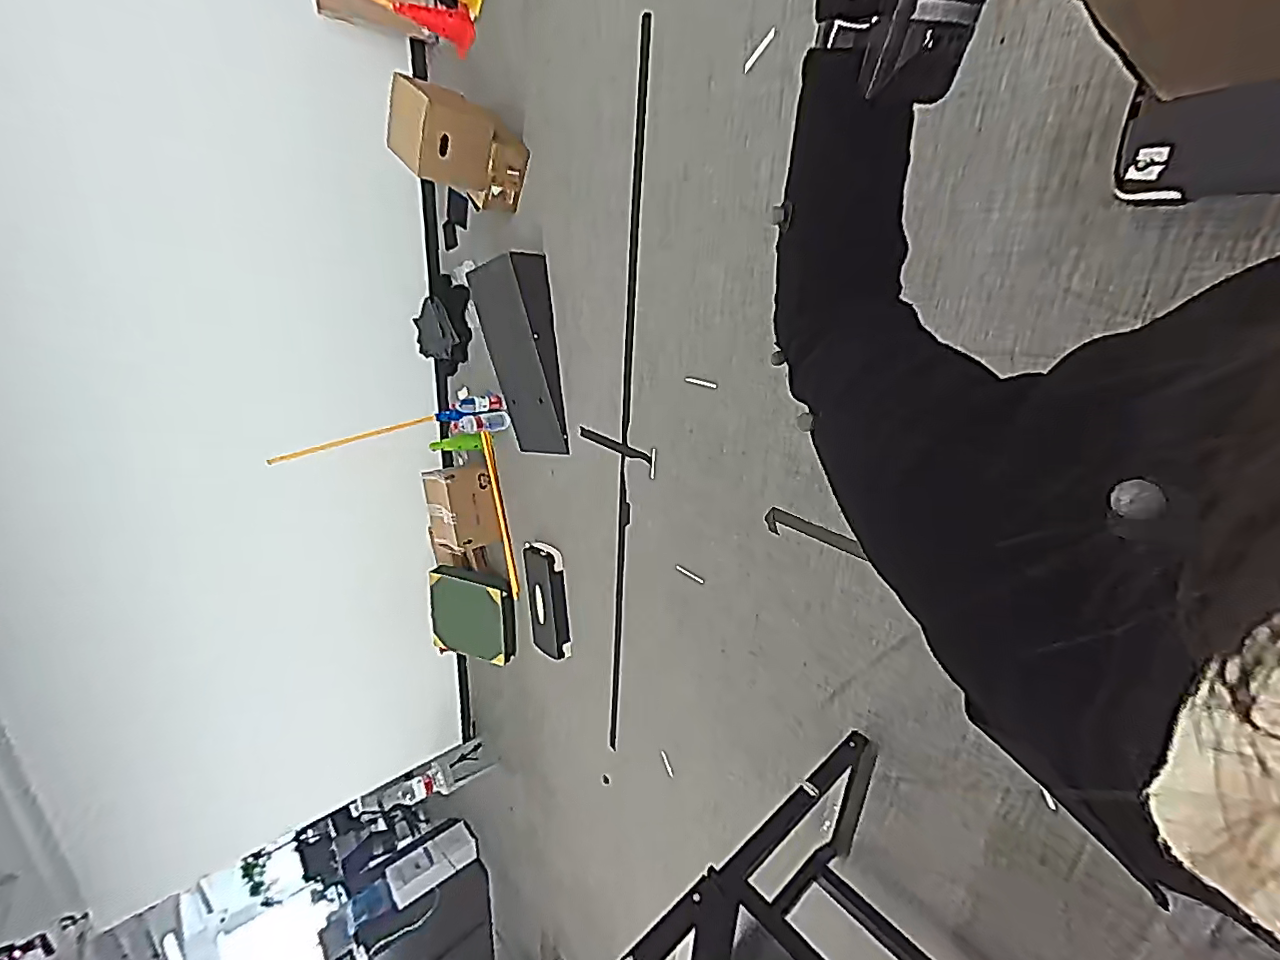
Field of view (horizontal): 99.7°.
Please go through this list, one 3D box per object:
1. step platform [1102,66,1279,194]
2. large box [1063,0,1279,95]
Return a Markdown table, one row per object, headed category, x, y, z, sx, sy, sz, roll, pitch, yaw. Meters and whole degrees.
| category | x | y | z | sx | sy | sz | roll | pitch | yaw |
| --- | --- | --- | --- | --- | --- | --- | --- | --- | --- |
| step platform | 1.112 | -0.561 | 0.767 | 0.684 | 0.204 | 0.286 | 32 | 124 | 41 |
| large box | 0.411 | -0.343 | 0.127 | 0.408 | 0.320 | 0.320 | 18 | 119 | 45 |
